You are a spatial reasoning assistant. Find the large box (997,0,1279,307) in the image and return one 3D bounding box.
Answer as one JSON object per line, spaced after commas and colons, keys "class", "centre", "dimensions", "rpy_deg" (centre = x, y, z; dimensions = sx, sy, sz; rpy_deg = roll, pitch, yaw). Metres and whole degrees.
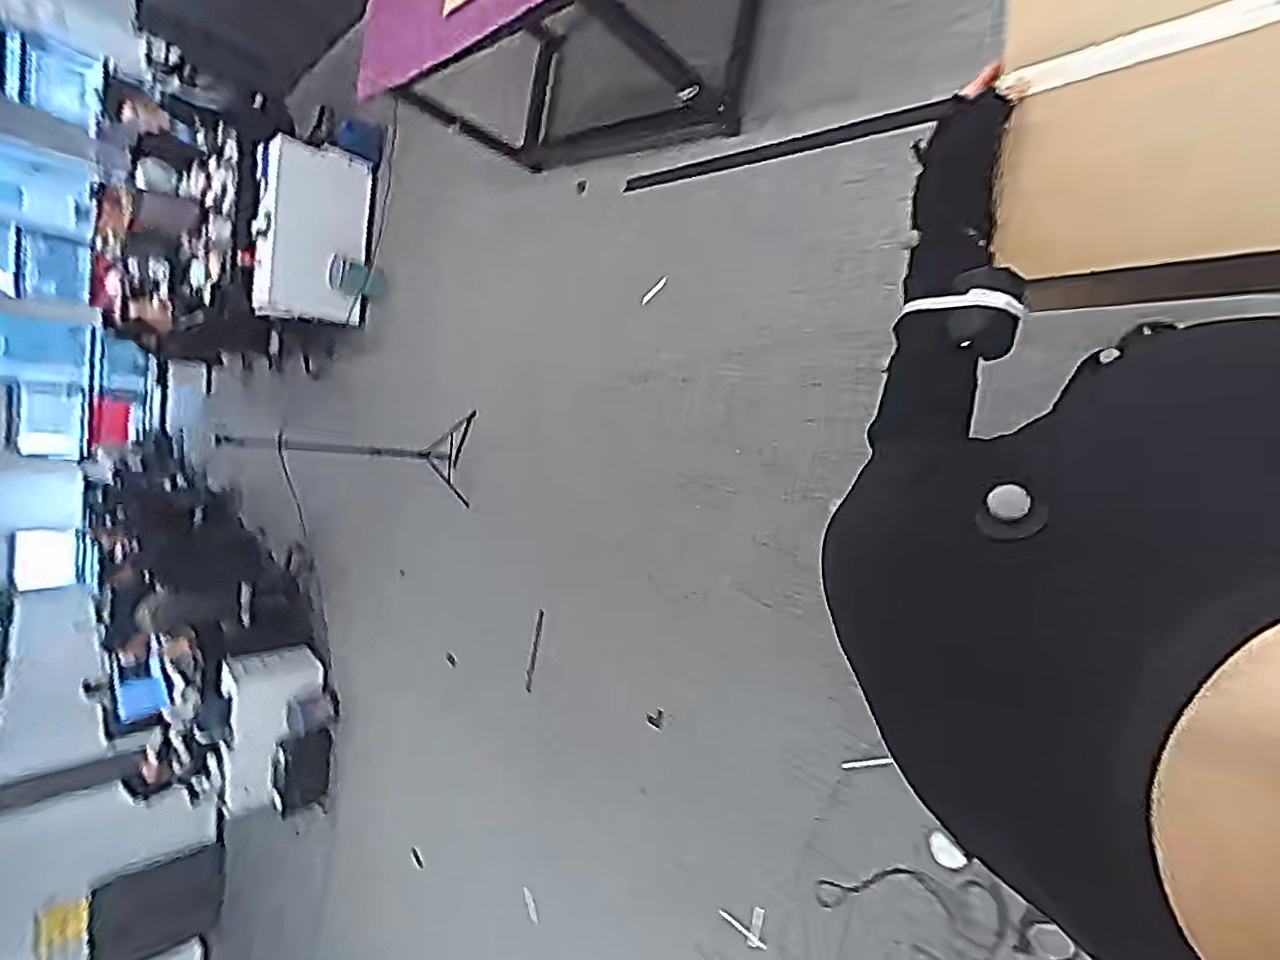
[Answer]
{"class": "large box", "centre": [0.564, -0.338, 0.451], "dimensions": [0.408, 0.320, 0.320], "rpy_deg": [7, 104, 40]}
